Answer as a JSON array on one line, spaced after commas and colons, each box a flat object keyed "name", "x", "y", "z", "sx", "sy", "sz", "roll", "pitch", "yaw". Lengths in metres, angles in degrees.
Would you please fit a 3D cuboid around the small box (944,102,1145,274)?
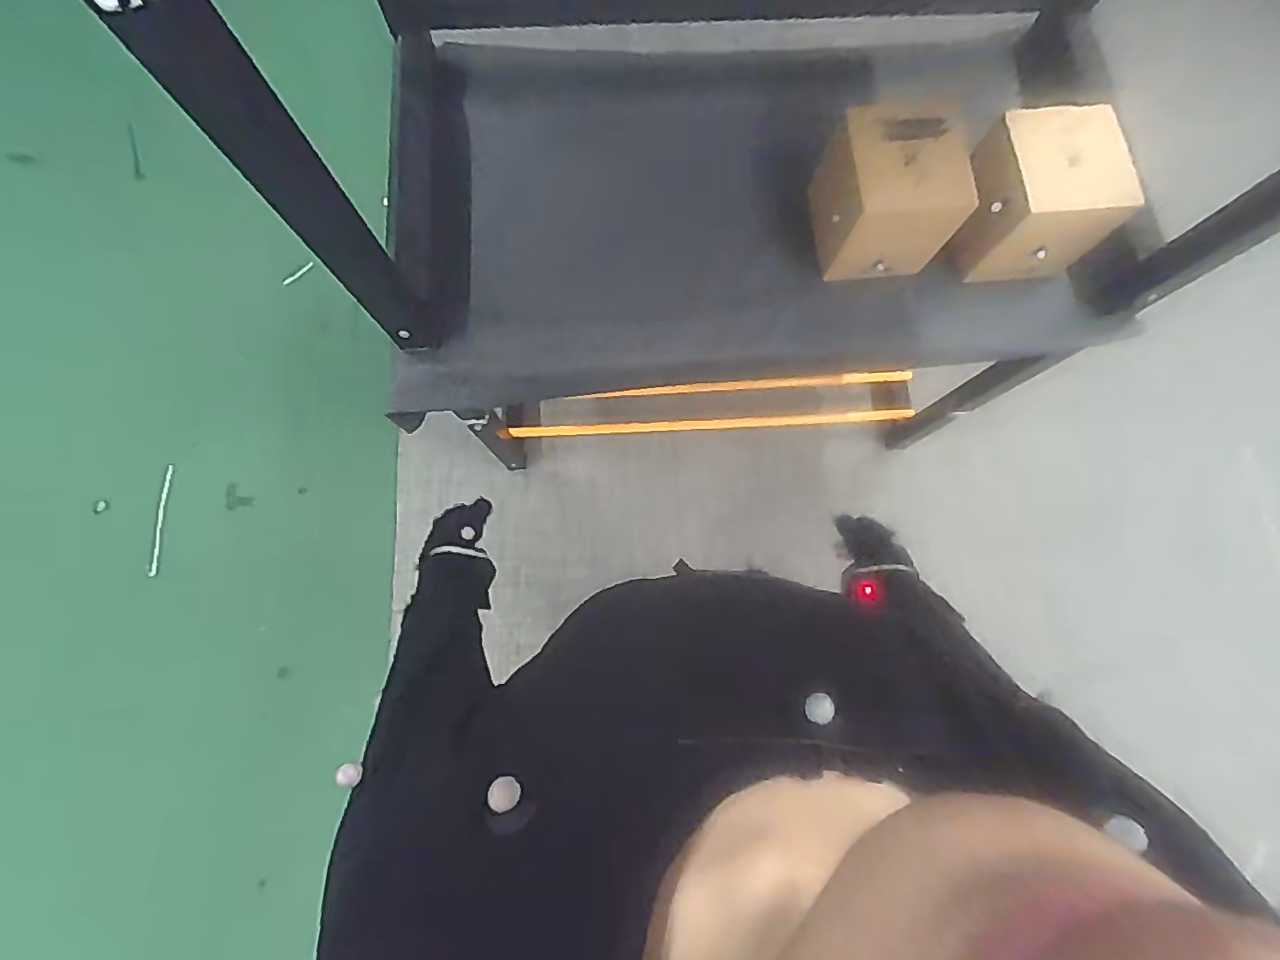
[{"name": "small box", "x": 0.611, "y": -0.441, "z": 0.843, "sx": 0.168, "sy": 0.176, "sz": 0.179, "roll": -5, "pitch": 76, "yaw": -2}]
